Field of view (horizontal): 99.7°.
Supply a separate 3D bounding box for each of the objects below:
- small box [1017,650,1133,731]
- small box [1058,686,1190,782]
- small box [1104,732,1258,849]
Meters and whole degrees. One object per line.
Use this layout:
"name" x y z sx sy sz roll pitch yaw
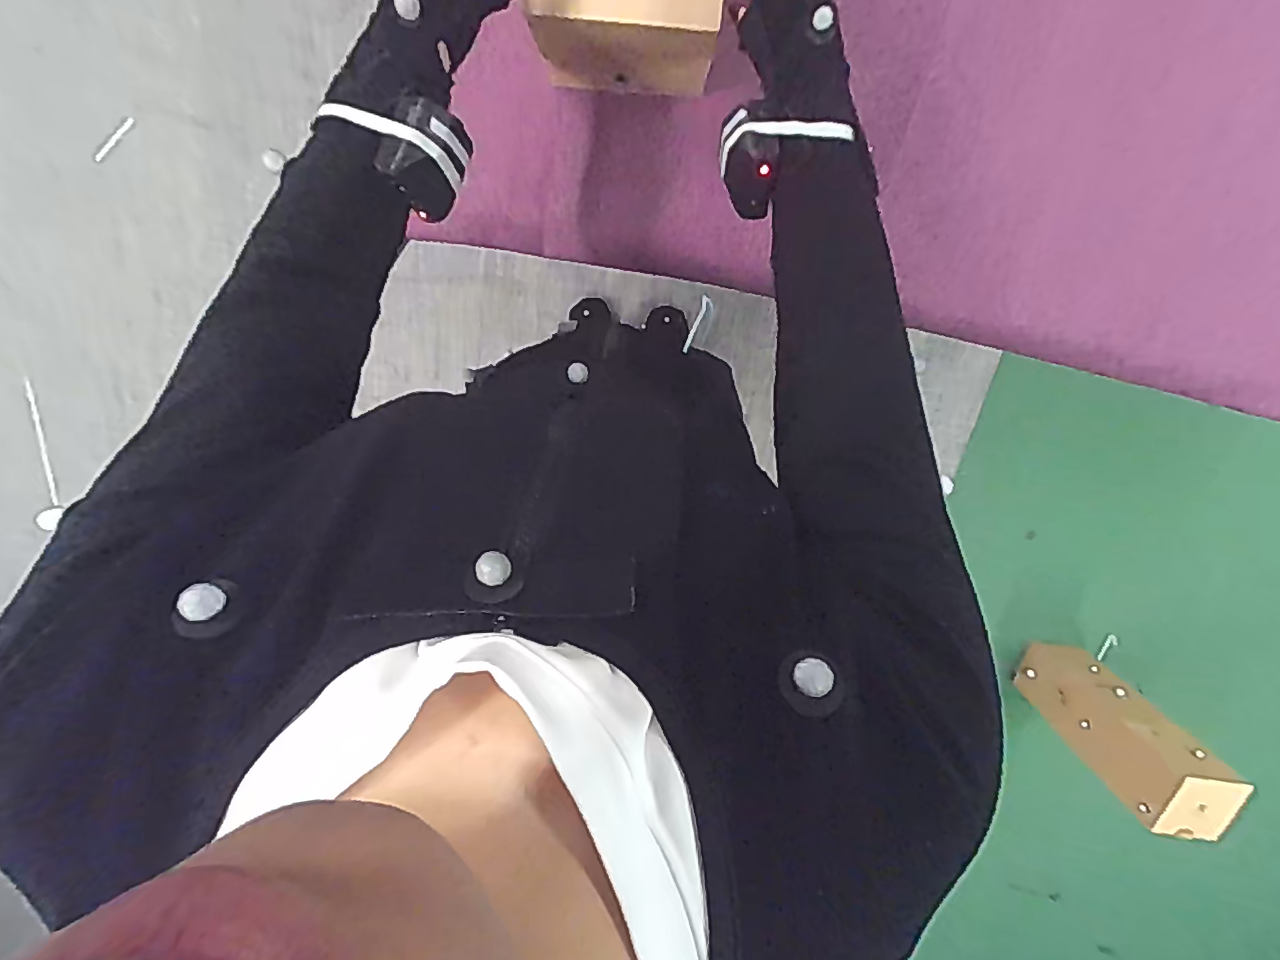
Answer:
"small box" 1.282 0.629 1.606 0.179 0.176 0.168 10 109 -2
"small box" 1.281 0.689 1.451 0.168 0.176 0.179 11 110 -5
"small box" 1.280 0.739 1.298 0.168 0.176 0.179 9 110 -2
